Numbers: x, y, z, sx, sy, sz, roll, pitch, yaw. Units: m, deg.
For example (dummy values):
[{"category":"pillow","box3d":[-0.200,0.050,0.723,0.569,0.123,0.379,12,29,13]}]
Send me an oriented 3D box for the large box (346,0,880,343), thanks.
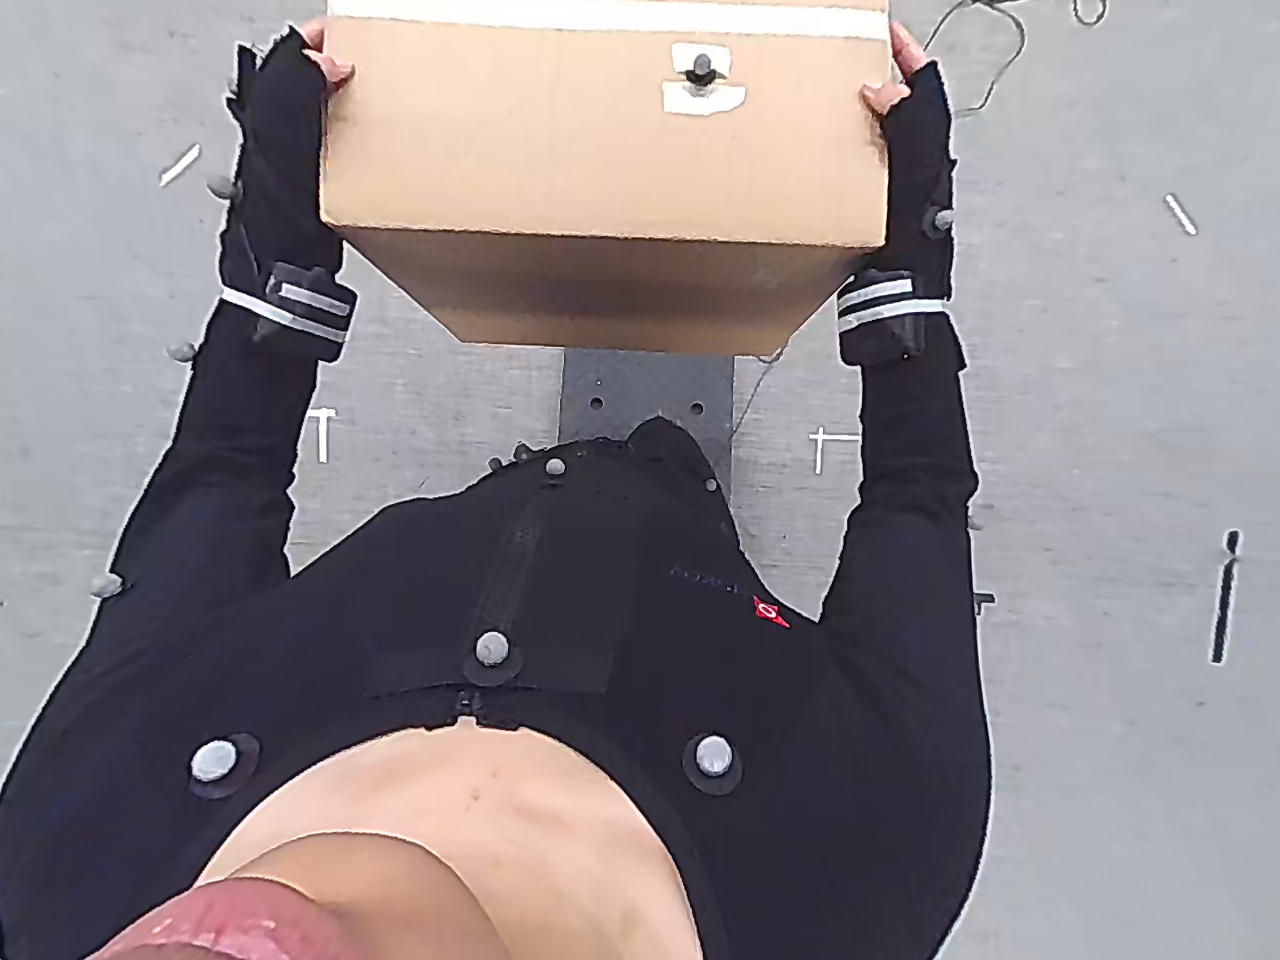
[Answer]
[{"category":"large box","box3d":[-0.021,-0.337,0.556,0.408,0.320,0.320,2,89,-1]}]
